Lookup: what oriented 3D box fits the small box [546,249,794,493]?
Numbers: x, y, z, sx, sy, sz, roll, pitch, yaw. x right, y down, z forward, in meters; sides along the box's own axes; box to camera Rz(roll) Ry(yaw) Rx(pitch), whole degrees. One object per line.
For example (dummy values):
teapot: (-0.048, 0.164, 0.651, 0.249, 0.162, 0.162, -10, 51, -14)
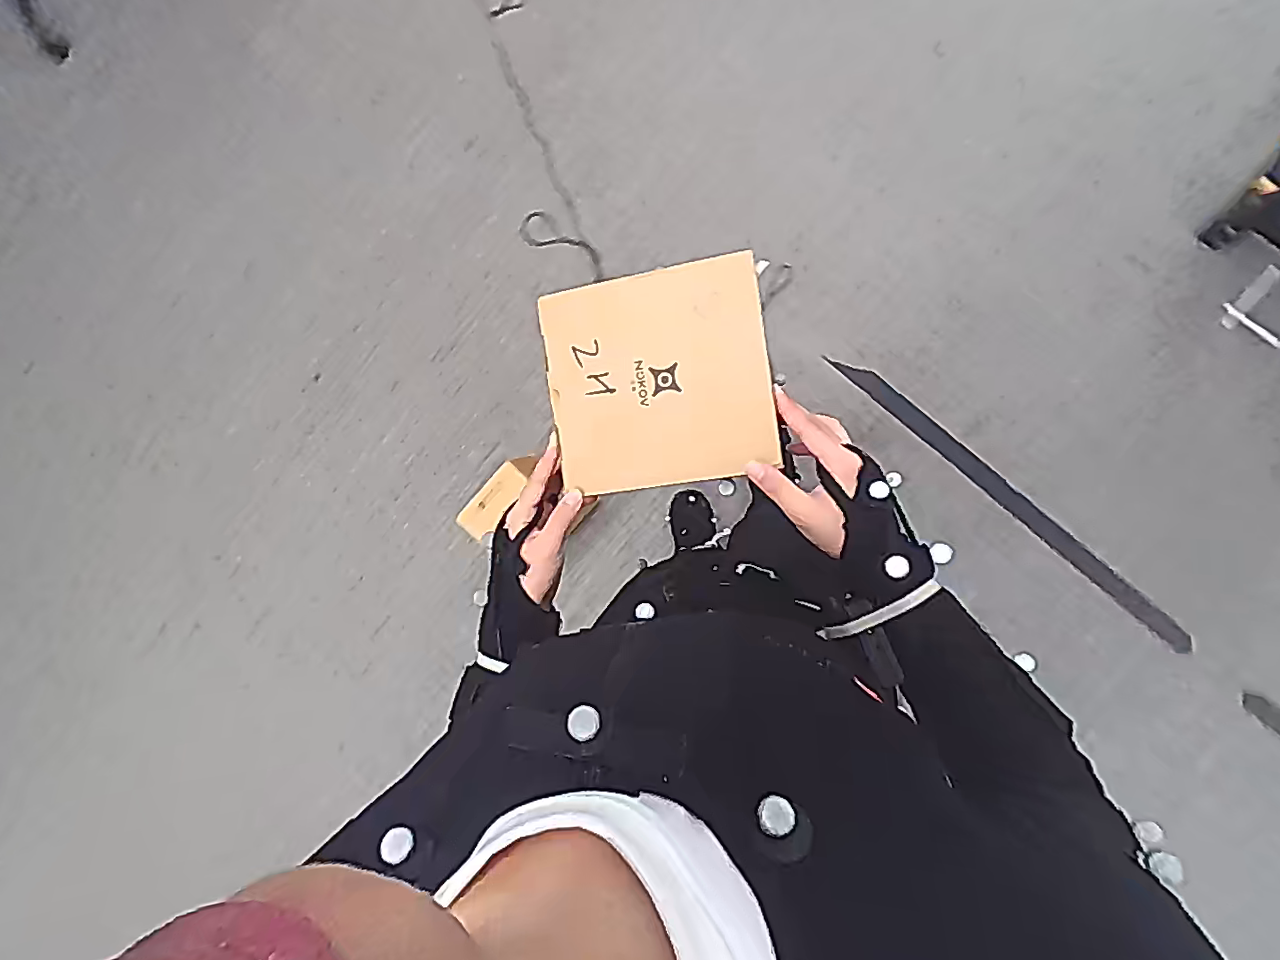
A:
small box: (0.035, -0.083, 0.487, 0.179, 0.176, 0.168, -7, 91, 13)
